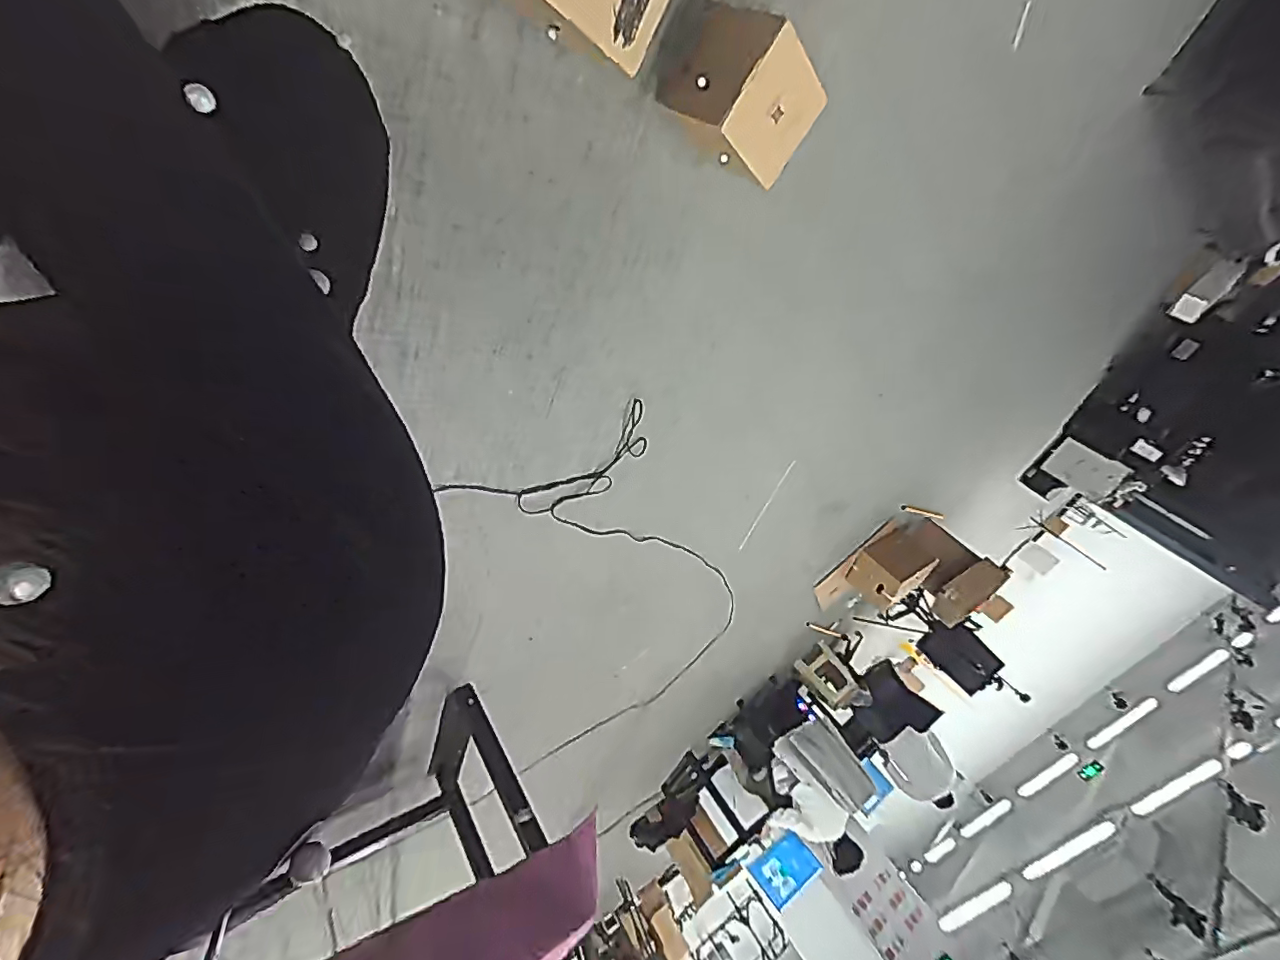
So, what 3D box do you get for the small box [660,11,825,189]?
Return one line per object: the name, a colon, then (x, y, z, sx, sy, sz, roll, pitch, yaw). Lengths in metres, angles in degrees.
small box: (0.165, -0.630, 0.898, 0.179, 0.176, 0.168, 13, 118, -52)
